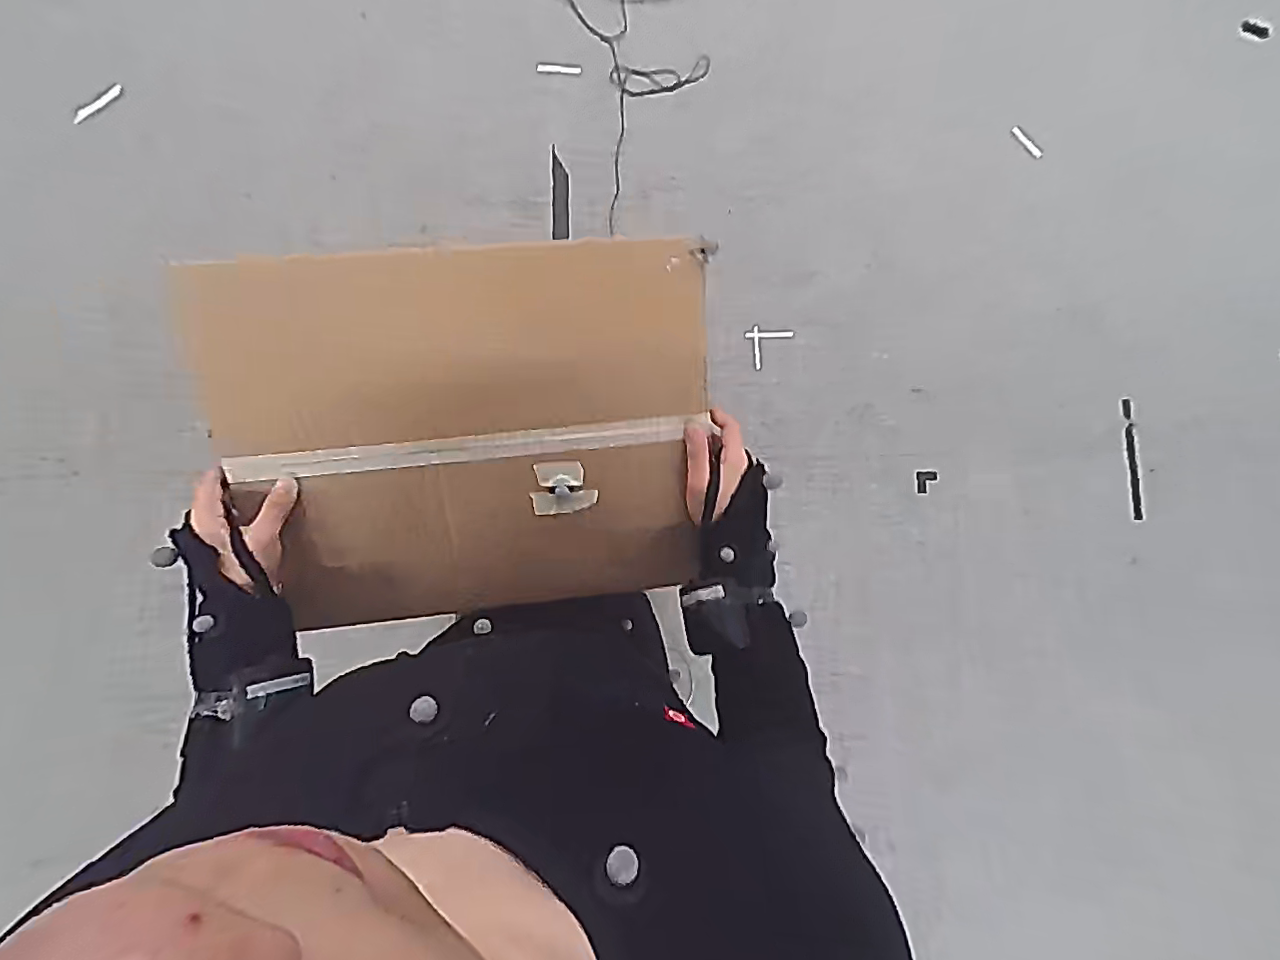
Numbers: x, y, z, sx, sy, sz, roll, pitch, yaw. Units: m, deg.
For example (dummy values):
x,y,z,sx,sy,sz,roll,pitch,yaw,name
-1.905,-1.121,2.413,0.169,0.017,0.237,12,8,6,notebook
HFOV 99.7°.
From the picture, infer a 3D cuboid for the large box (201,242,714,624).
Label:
x,y,z,sx,sy,sz,roll,pitch,yaw,name
-0.154,-0.074,0.619,0.408,0.320,0.320,-6,108,-7,large box
